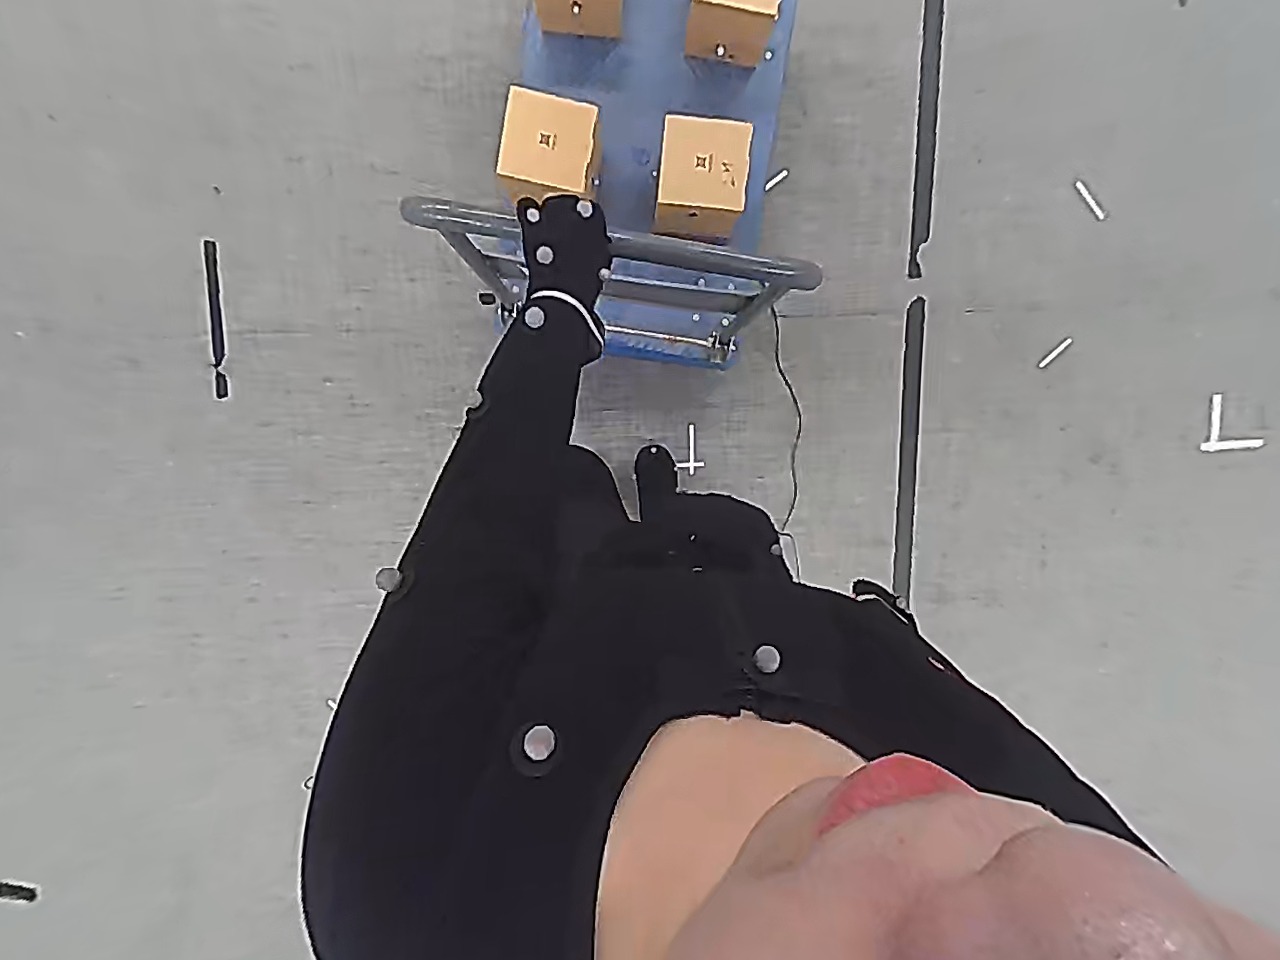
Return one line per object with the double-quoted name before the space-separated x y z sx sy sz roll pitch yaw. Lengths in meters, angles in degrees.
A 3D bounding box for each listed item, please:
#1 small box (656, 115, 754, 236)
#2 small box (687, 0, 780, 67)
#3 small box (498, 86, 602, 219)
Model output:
"small box" 0.128 -0.630 1.138 0.179 0.176 0.168 5 97 -2
"small box" 0.194 -0.992 1.093 0.168 0.176 0.179 10 98 -2
"small box" -0.180 -0.669 1.127 0.179 0.176 0.168 11 97 -4
